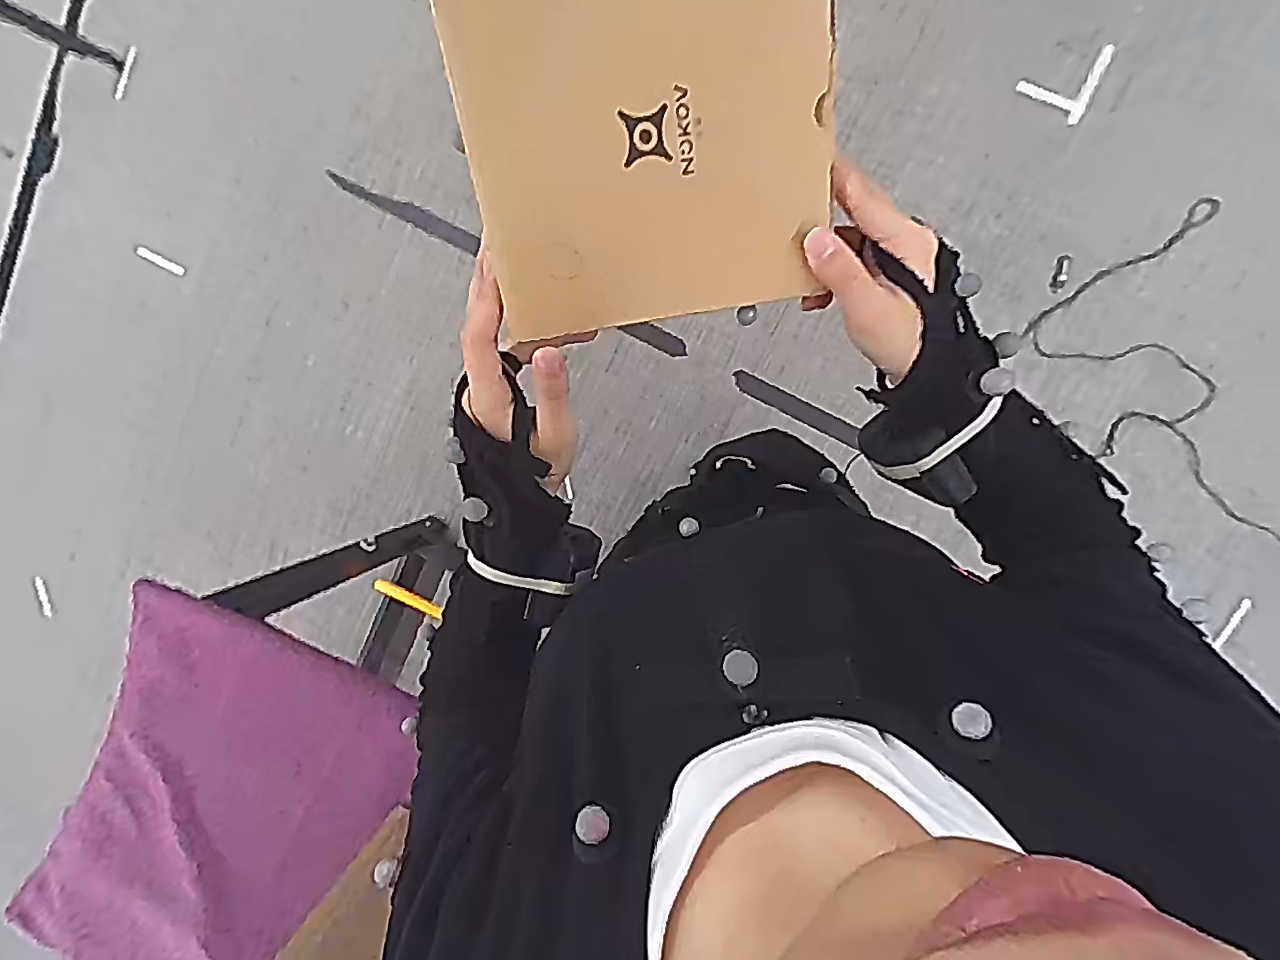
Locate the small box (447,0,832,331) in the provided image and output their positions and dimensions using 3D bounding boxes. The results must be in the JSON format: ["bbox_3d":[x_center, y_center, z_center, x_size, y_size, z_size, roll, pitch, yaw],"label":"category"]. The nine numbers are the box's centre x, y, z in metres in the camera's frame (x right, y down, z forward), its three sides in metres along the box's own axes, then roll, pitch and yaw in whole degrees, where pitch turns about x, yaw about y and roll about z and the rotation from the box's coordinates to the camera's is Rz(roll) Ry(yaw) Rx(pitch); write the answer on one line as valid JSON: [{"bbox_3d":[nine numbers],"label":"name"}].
[{"bbox_3d":[0.001,-0.196,0.338,0.179,0.176,0.168,-10,114,-4],"label":"small box"}]
